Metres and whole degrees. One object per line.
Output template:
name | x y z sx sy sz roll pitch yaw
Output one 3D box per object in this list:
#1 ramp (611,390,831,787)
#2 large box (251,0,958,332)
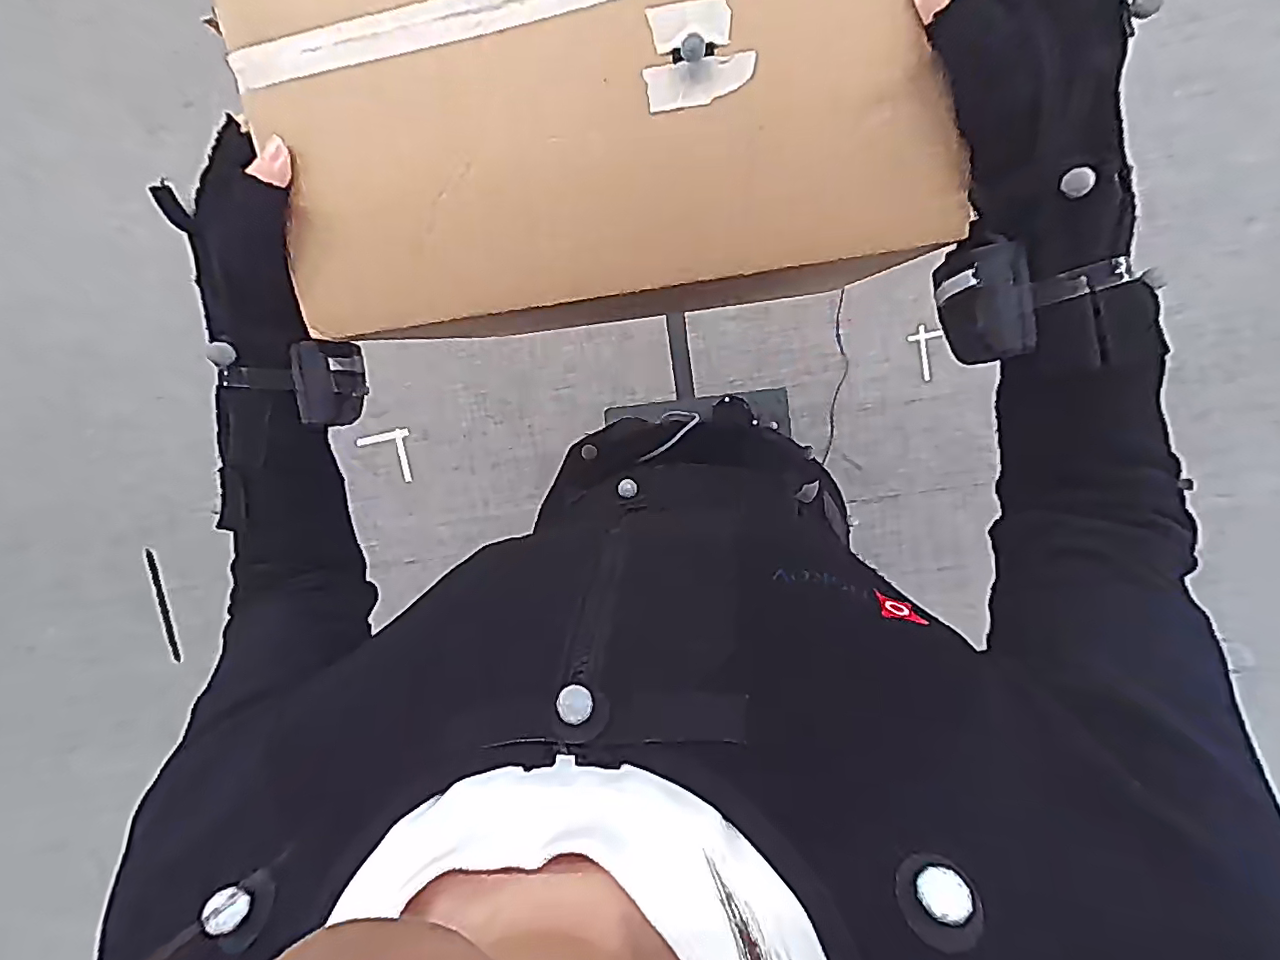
ramp | 0.192 0.279 1.418 0.509 0.206 0.991 -7 95 12
large box | -0.018 -0.310 0.447 0.408 0.320 0.320 -6 105 9
